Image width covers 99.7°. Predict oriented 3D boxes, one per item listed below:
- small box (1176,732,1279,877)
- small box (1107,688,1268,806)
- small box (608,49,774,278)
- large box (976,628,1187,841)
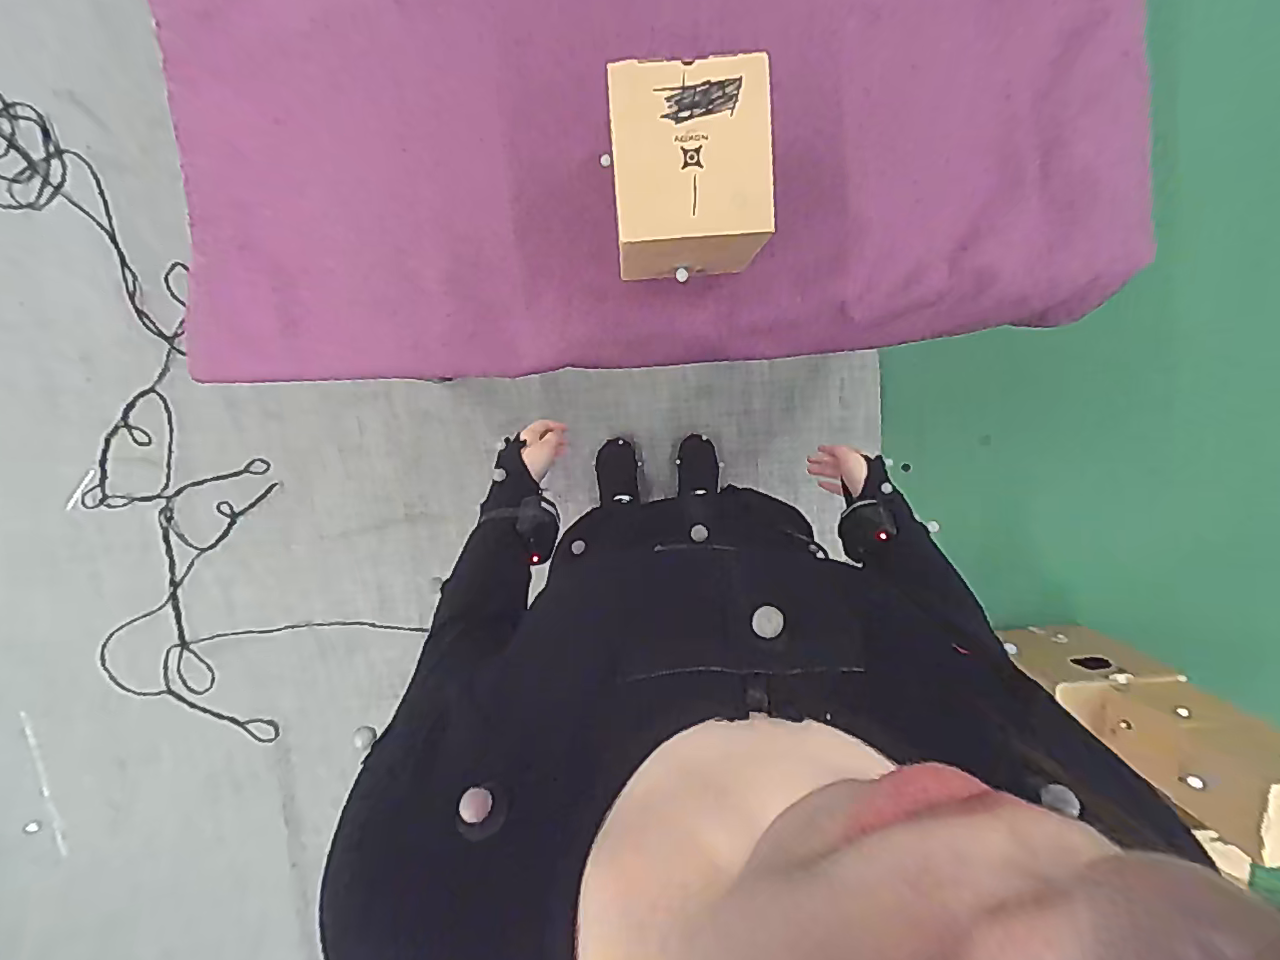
[{"bbox_3d":[1.177,0.596,1.012,0.179,0.176,0.168,-4,98,0],"label":"small box"},{"bbox_3d":[1.177,0.571,1.175,0.179,0.176,0.168,-3,98,0],"label":"small box"},{"bbox_3d":[0.051,-0.347,0.625,0.168,0.176,0.179,-4,98,0],"label":"small box"},{"bbox_3d":[1.131,0.648,1.428,0.320,0.320,0.408,-3,98,1],"label":"large box"}]
